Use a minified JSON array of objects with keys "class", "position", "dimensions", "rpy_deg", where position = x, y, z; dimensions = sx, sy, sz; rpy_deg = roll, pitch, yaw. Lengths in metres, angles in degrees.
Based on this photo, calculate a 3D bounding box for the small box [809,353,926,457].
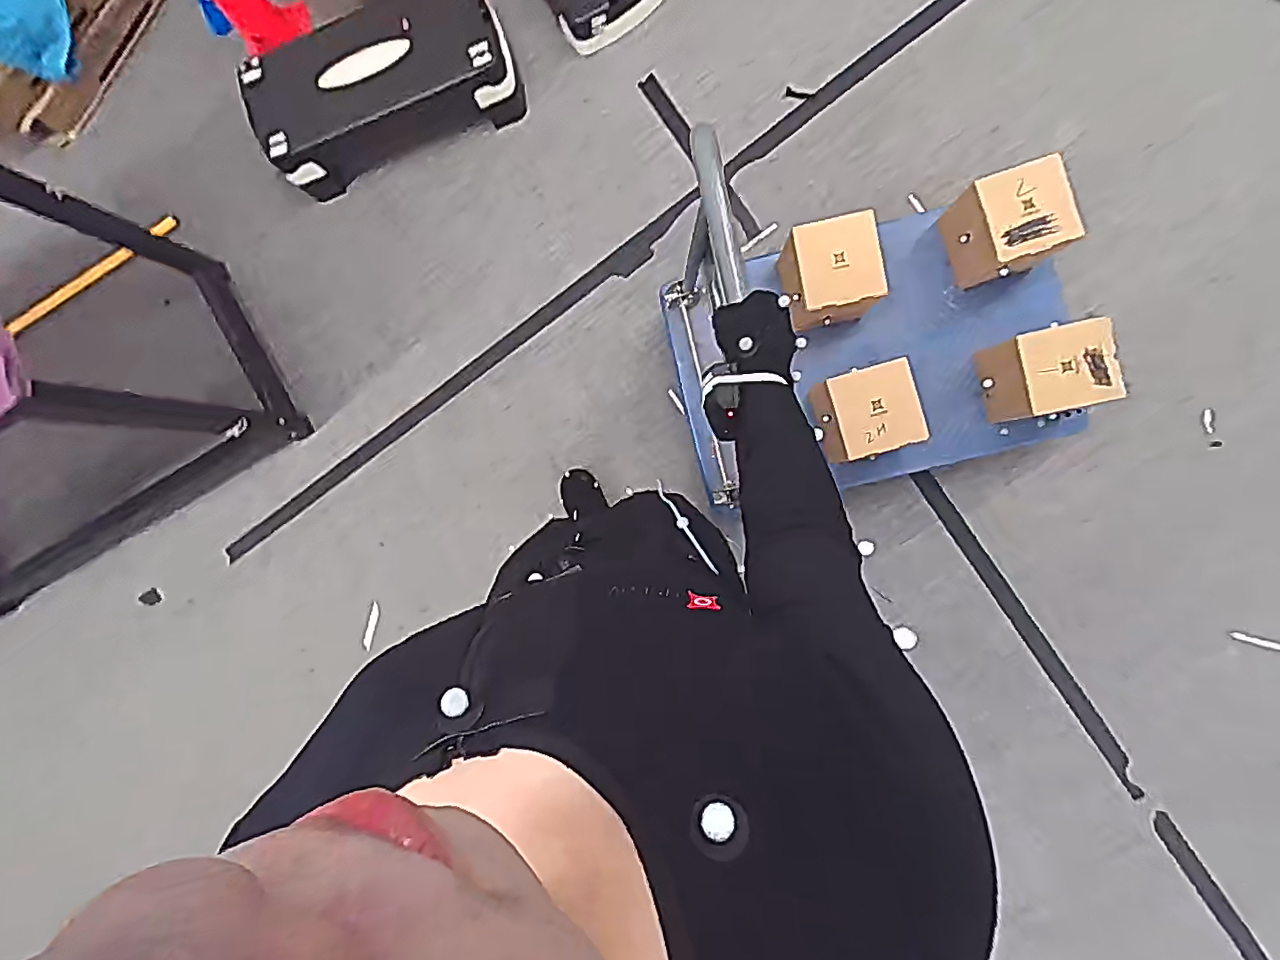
[{"class":"small box","position":[0.482,-0.154,1.173],"dimensions":[0.168,0.176,0.179],"rpy_deg":[-15,90,5]}]

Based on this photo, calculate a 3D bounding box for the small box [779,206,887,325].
[{"class":"small box","position":[0.408,-0.455,1.172],"dimensions":[0.168,0.176,0.179],"rpy_deg":[-11,92,4]}]

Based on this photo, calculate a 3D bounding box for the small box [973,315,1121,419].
[{"class":"small box","position":[0.847,-0.231,1.141],"dimensions":[0.179,0.176,0.168],"rpy_deg":[-12,90,6]}]
